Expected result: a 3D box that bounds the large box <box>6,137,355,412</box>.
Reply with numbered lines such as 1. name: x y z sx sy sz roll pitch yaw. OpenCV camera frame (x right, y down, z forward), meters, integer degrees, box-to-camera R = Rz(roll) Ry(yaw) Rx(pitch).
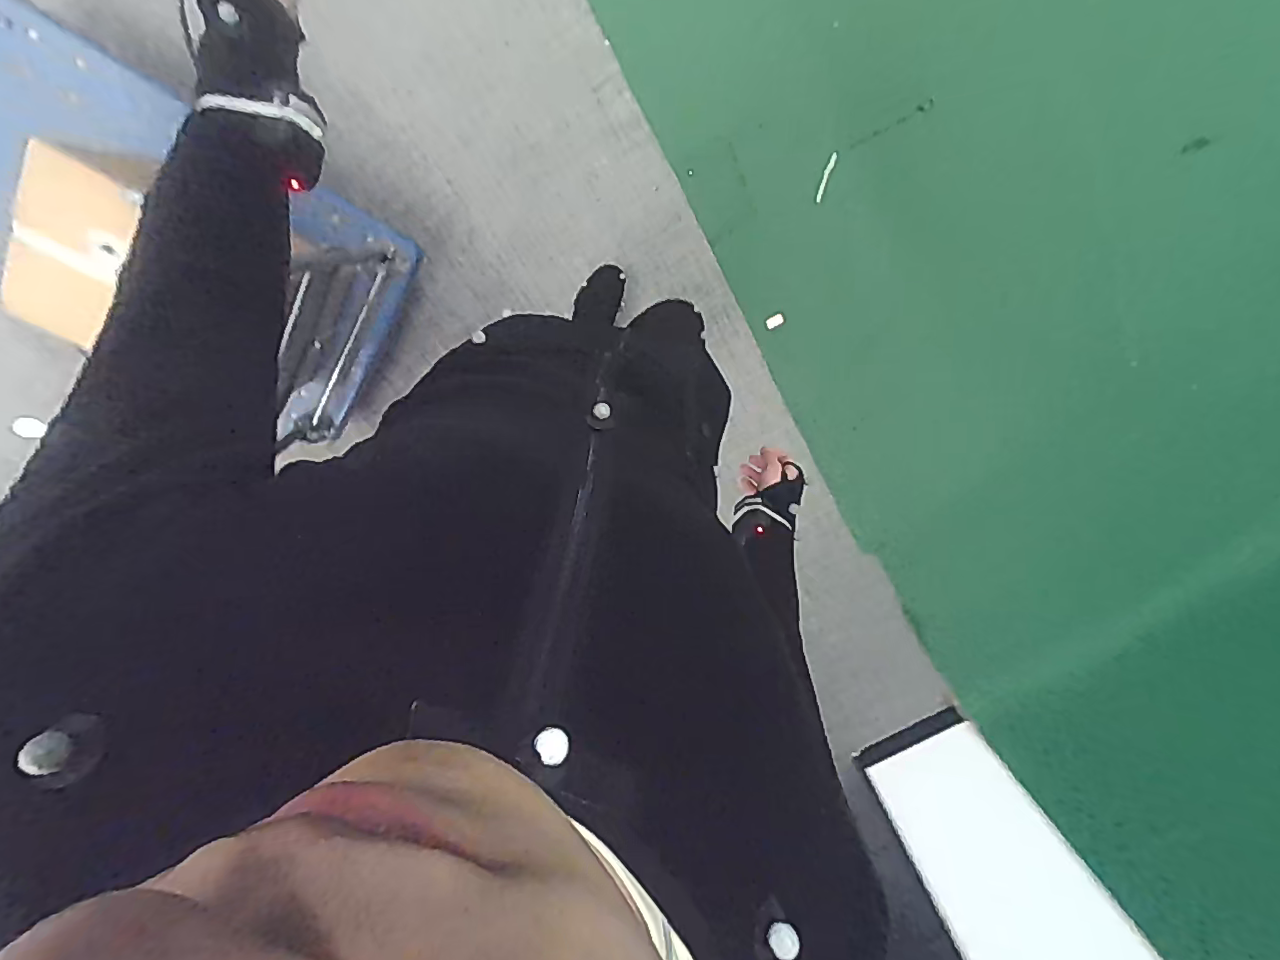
1. large box: -0.880 -0.399 1.093 0.408 0.320 0.320 29 108 -16
